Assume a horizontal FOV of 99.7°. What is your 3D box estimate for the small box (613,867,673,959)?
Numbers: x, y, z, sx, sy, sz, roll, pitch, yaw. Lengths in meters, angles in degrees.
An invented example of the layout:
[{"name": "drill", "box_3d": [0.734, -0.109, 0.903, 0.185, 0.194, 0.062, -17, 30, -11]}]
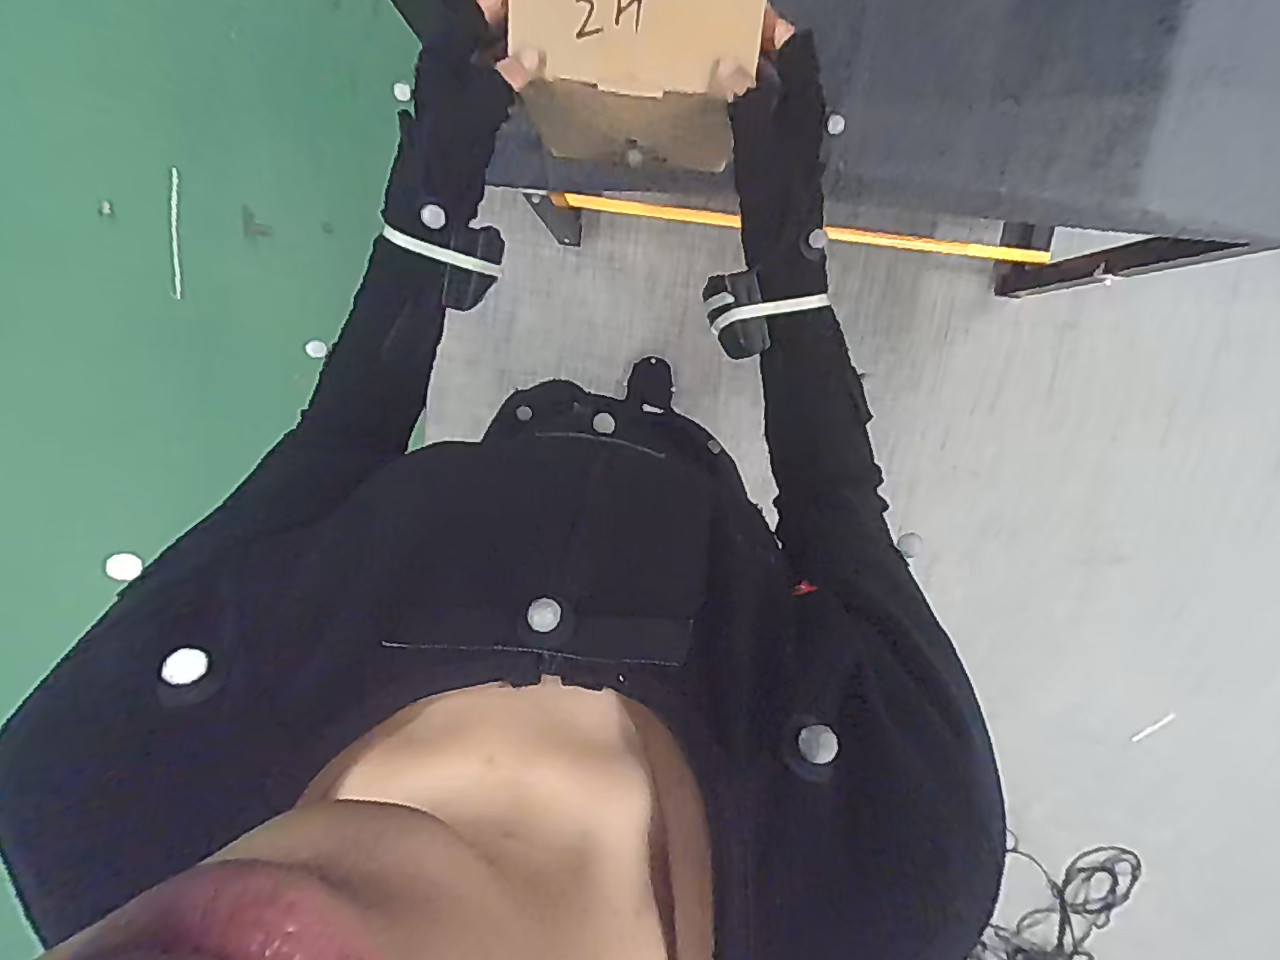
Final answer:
[{"name": "small box", "box_3d": [0.009, 1.345, 1.667, 0.168, 0.176, 0.179, 4, 100, -2]}]
